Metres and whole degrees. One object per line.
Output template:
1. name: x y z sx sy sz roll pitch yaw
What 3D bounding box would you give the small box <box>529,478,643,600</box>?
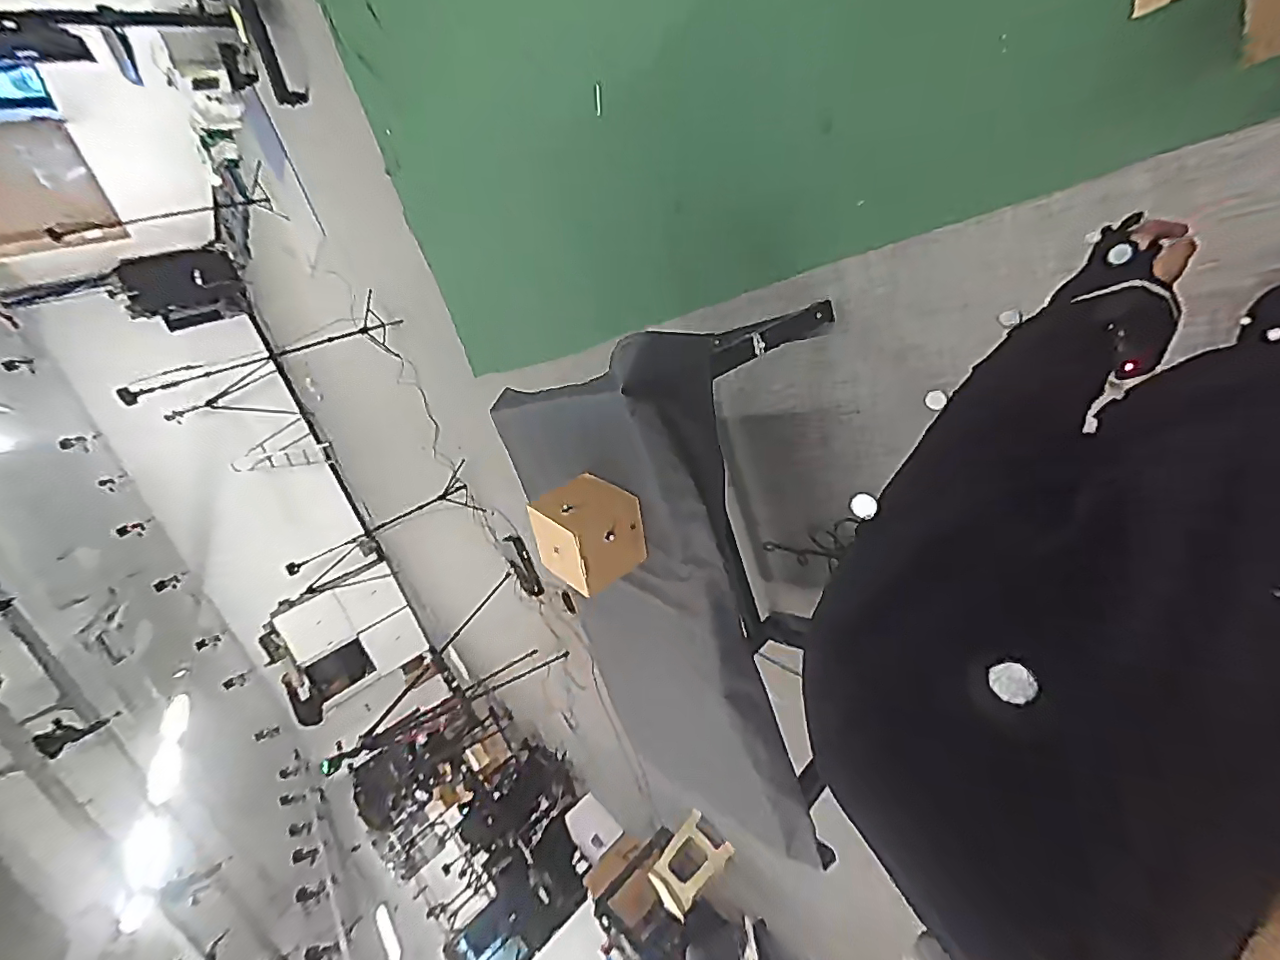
1. small box: -0.107 0.115 1.150 0.179 0.176 0.168 26 132 43
